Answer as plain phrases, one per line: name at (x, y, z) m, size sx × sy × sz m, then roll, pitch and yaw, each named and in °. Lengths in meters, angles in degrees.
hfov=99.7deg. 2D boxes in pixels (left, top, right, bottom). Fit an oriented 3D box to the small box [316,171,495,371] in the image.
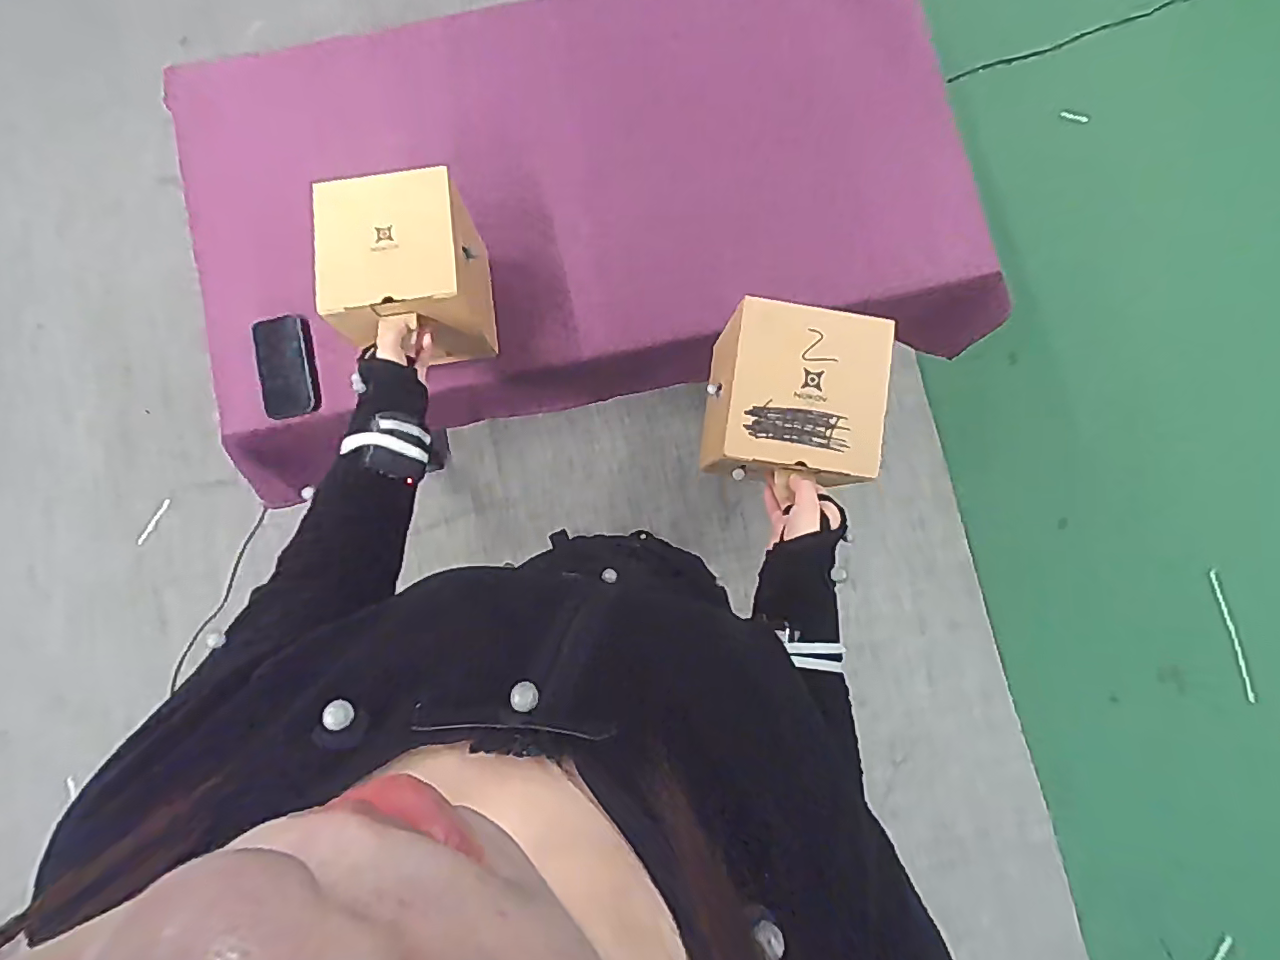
small box at (-0.298, -0.264, 0.713) m, size 0.168 × 0.176 × 0.179 m, roll -8°, pitch 80°, yaw -1°
